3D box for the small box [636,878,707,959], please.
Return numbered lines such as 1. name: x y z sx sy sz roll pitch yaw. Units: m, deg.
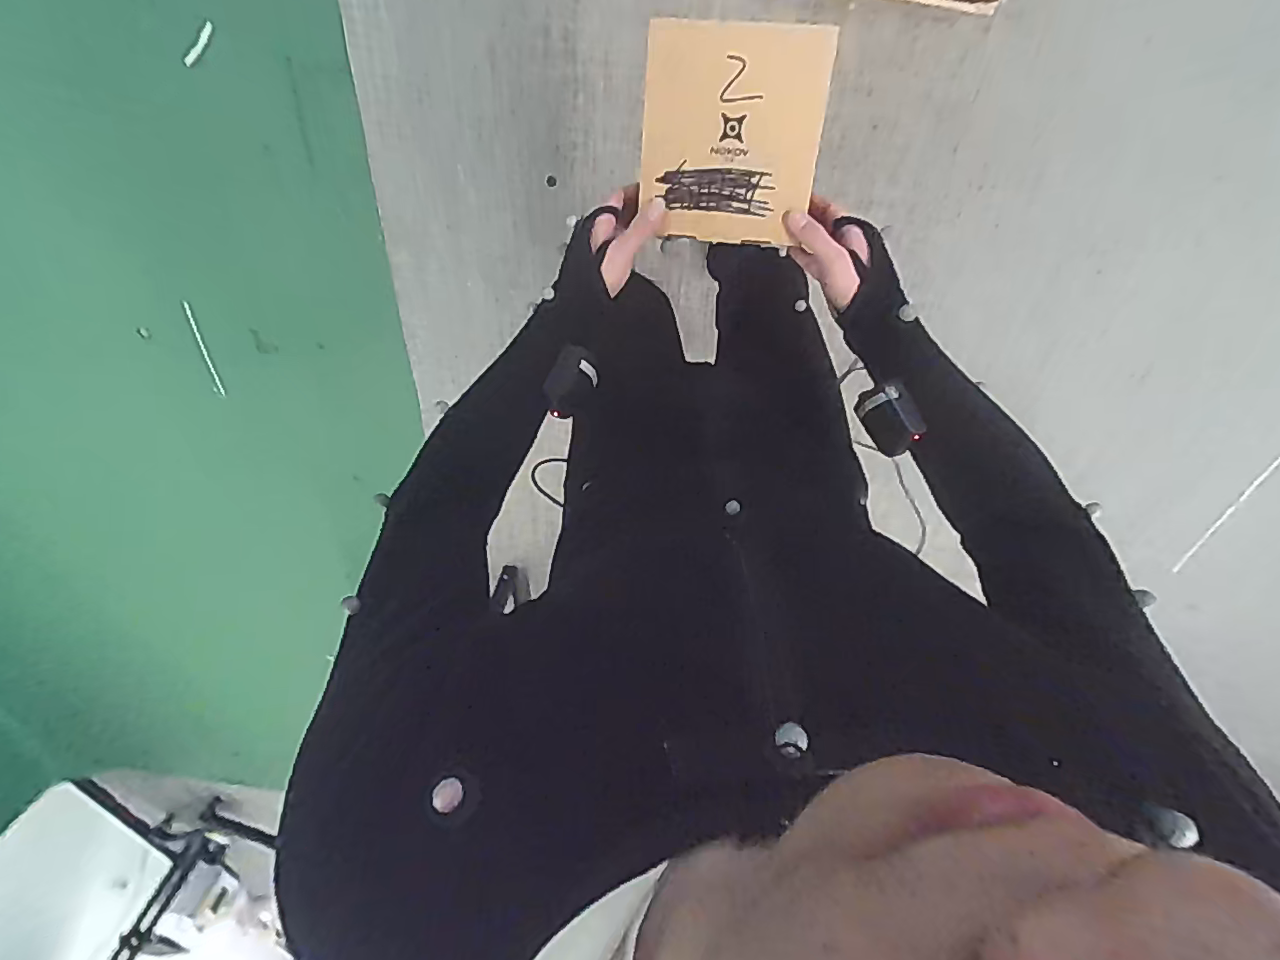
1. small box: 0.081 1.190 1.438 0.168 0.176 0.179 8 127 1
